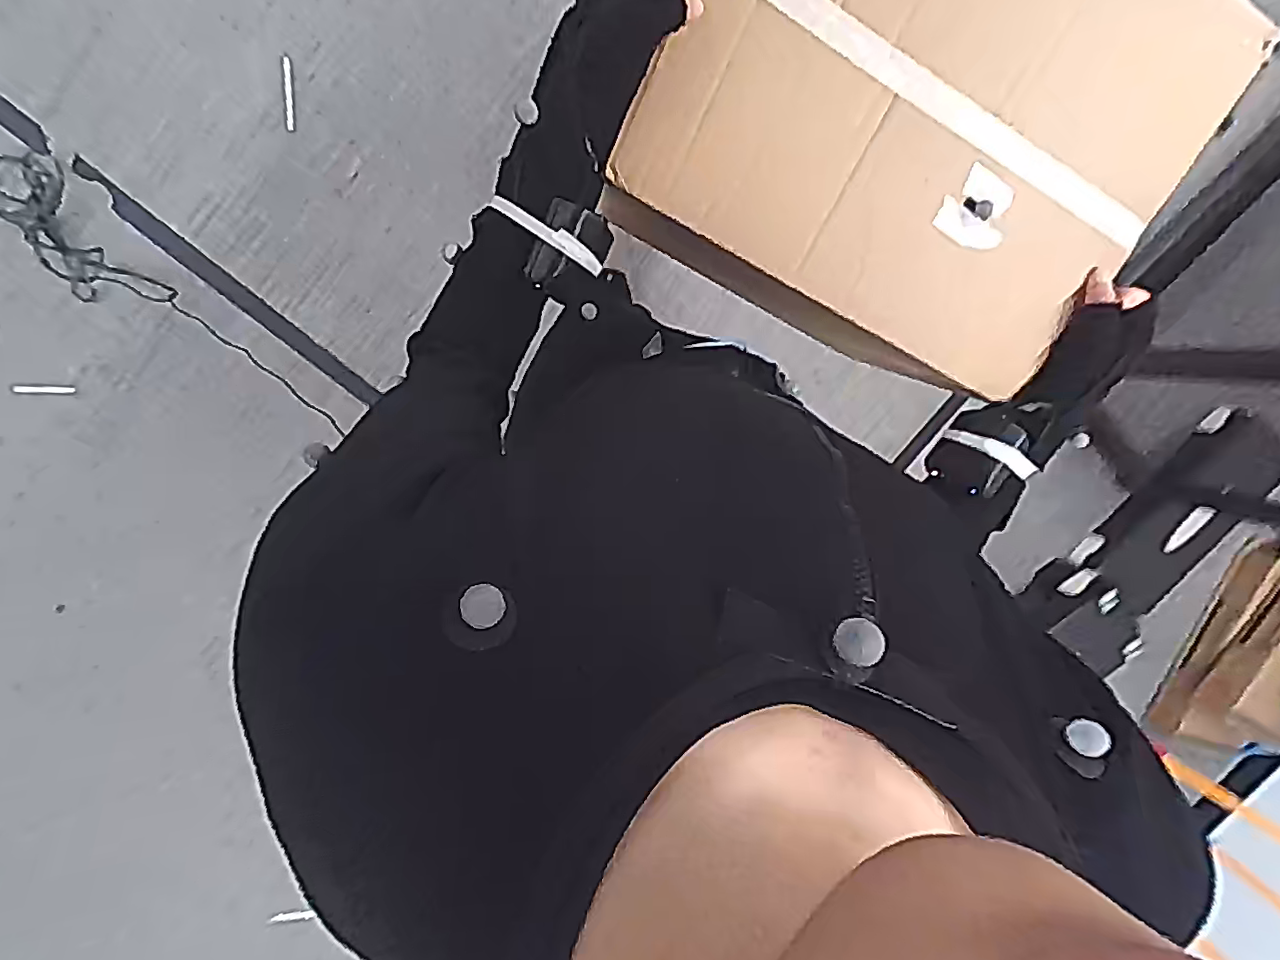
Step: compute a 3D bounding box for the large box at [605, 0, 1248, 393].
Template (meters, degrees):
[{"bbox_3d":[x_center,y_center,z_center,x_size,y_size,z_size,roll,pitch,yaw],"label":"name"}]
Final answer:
[{"bbox_3d":[0.208,-0.336,0.547,0.408,0.320,0.320,24,108,-14],"label":"large box"}]
